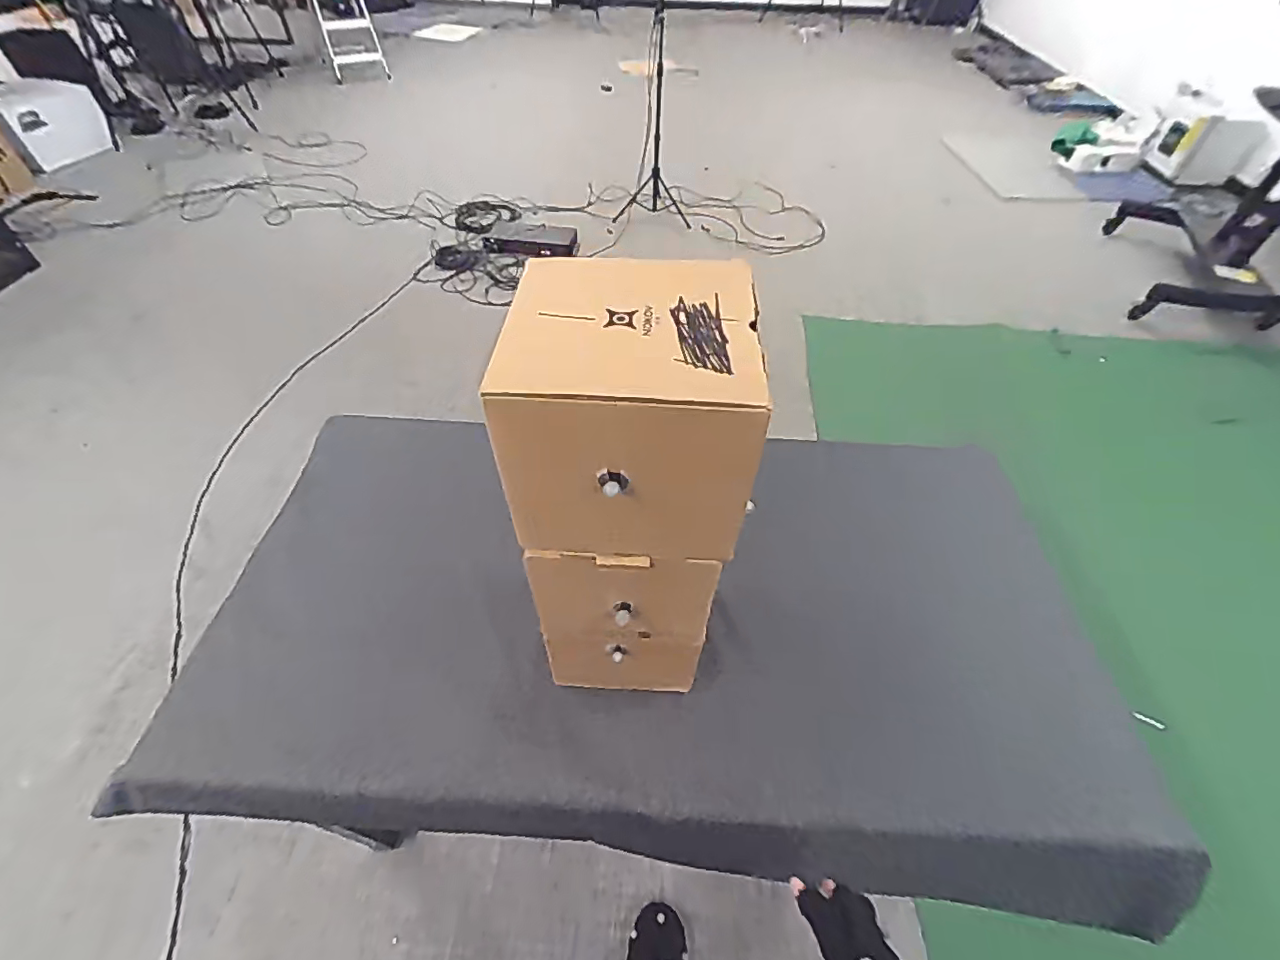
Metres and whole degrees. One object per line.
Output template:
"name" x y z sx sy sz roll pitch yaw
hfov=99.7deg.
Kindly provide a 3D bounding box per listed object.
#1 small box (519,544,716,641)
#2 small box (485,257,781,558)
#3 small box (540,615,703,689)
"small box" -0.015 0.052 0.553 0.168 0.176 0.179 2 51 1
"small box" -0.006 -0.051 0.424 0.179 0.176 0.168 2 50 -2
"small box" -0.018 0.153 0.682 0.179 0.176 0.168 3 50 0
